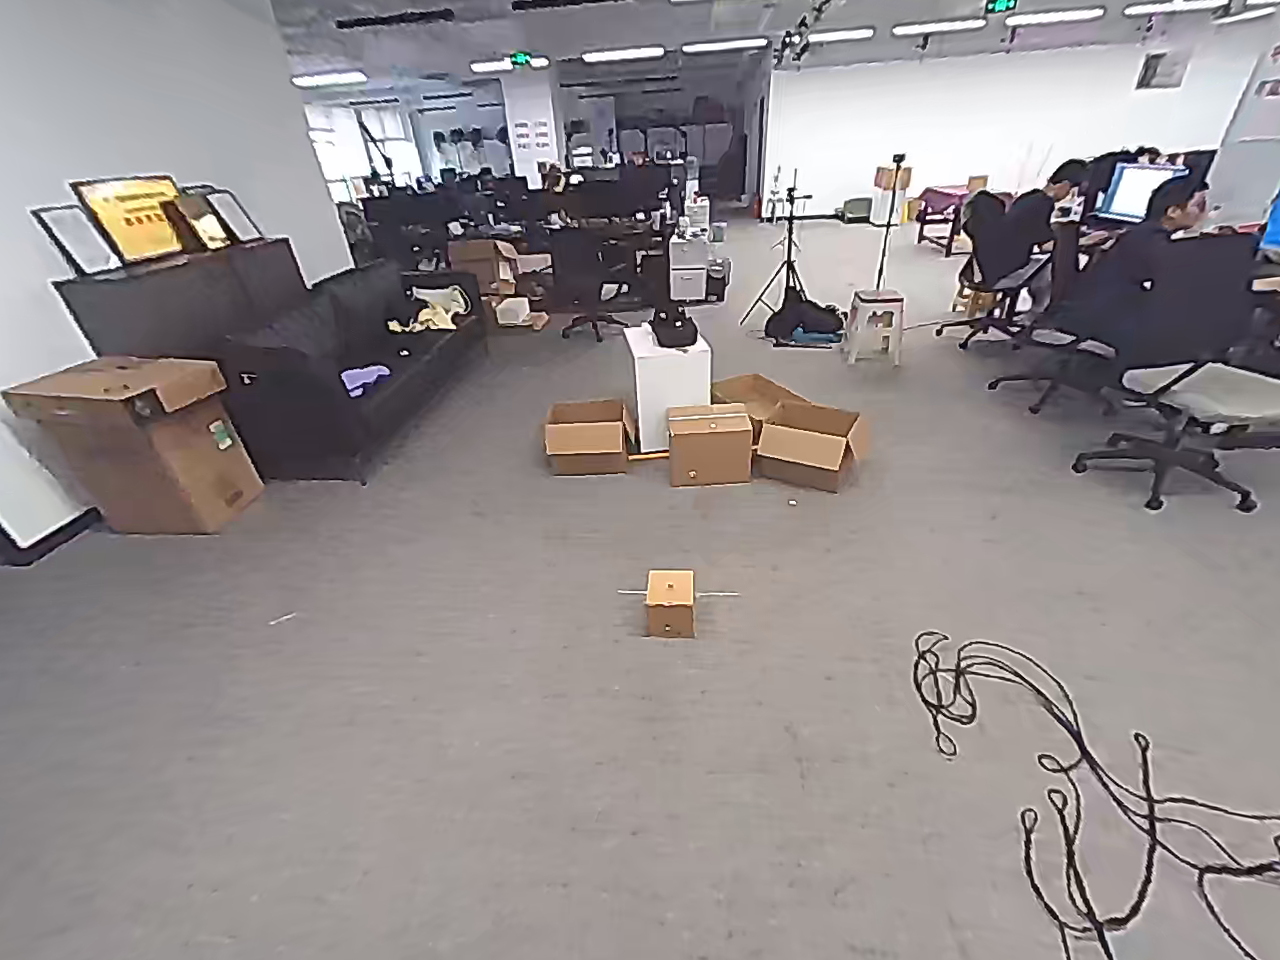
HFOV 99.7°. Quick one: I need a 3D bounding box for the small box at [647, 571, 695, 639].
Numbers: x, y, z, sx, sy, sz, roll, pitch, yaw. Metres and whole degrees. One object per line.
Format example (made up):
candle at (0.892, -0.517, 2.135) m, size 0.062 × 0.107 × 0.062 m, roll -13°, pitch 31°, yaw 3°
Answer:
small box at (0.115, 0.453, 1.967) m, size 0.168 × 0.176 × 0.179 m, roll -1°, pitch 33°, yaw 6°
